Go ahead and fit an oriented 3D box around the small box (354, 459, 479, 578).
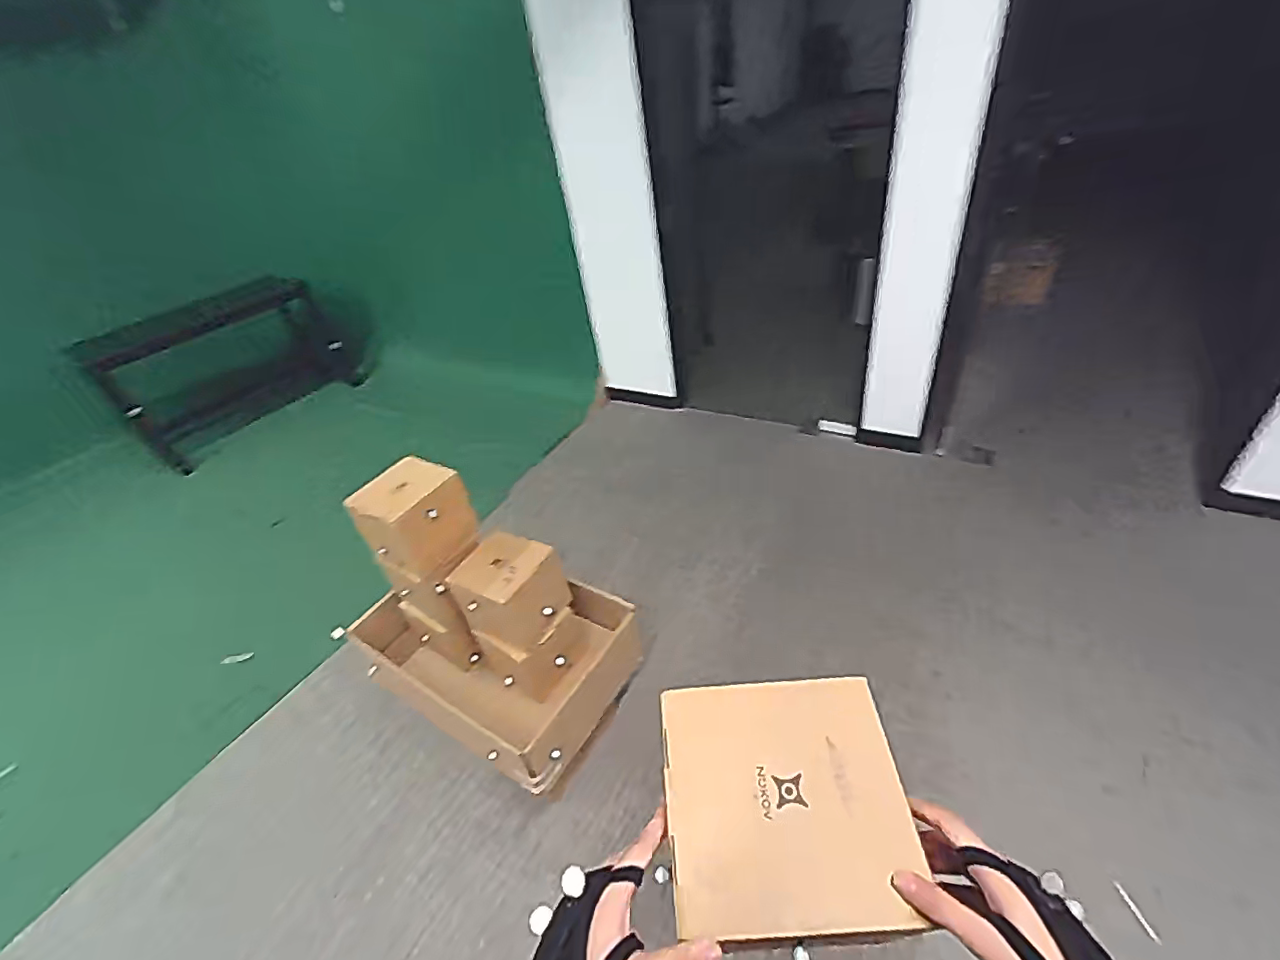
[{"bbox_3d":[-0.480,0.082,1.194,0.168,0.176,0.179,15,44,30],"label":"small box"}]
